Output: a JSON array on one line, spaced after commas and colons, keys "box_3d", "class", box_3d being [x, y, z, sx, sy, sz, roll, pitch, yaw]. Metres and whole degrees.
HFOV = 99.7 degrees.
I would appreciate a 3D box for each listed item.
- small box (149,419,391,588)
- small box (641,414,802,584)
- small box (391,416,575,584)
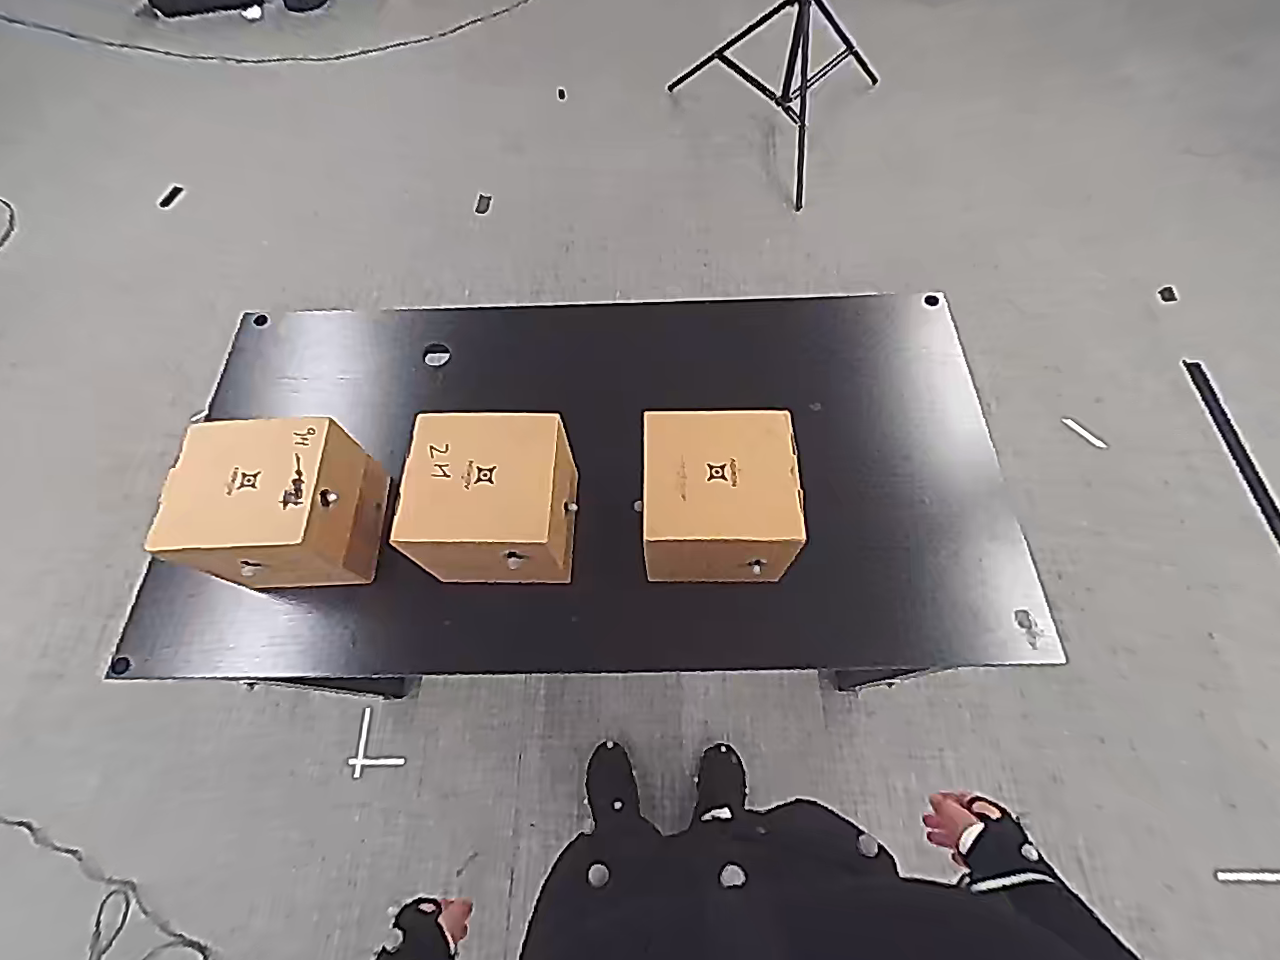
[{"box_3d": [-0.455, 0.038, 0.699, 0.179, 0.176, 0.168, -3, 65, 1], "class": "small box"}, {"box_3d": [0.092, 0.030, 0.685, 0.179, 0.176, 0.168, -1, 63, 3], "class": "small box"}, {"box_3d": [-0.182, 0.032, 0.691, 0.179, 0.176, 0.168, 0, 64, 2], "class": "small box"}]
